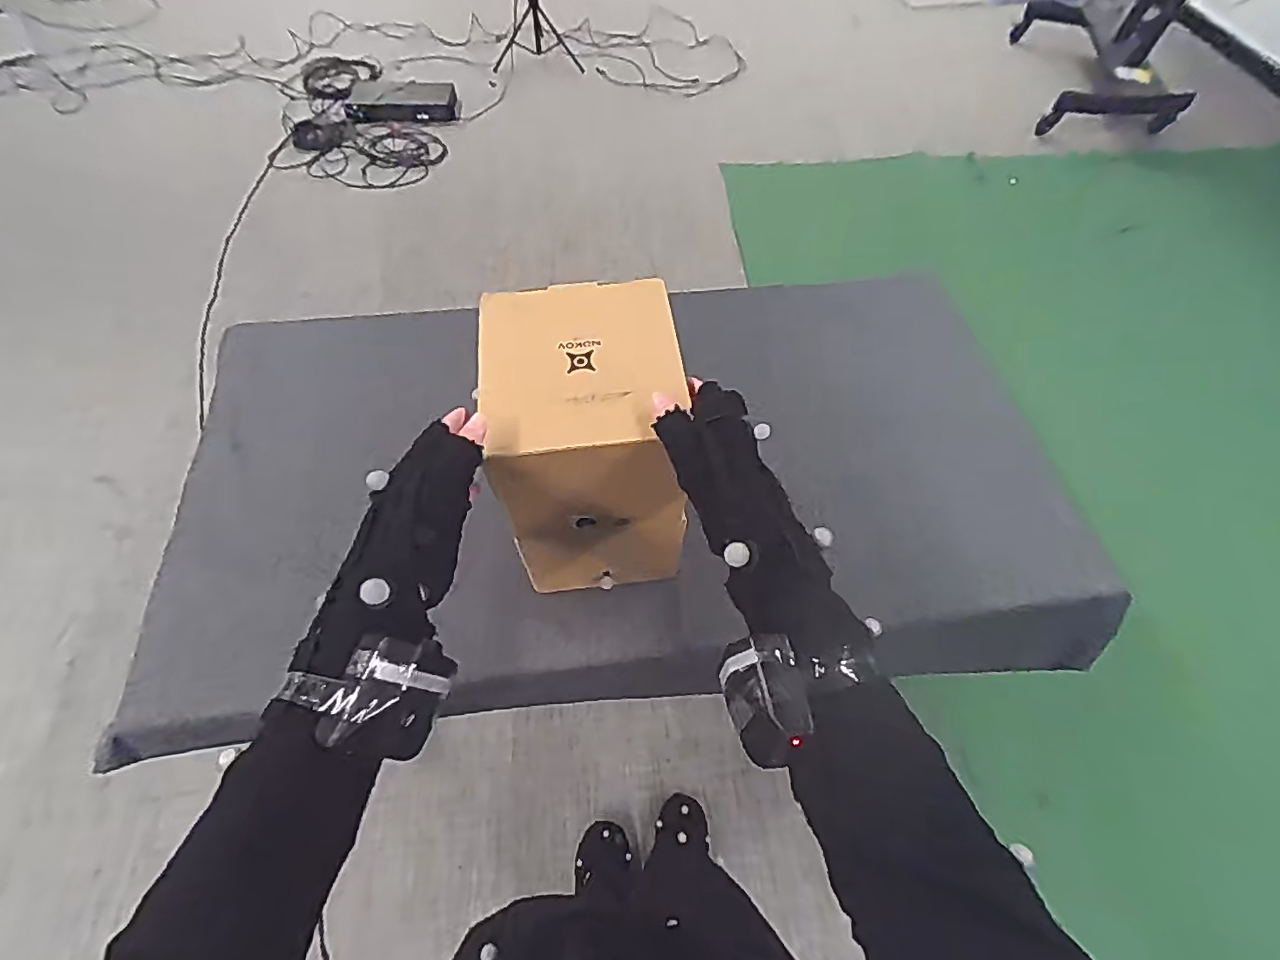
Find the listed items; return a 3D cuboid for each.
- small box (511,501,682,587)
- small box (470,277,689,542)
[{"bbox_3d":[-0.054,0.019,0.652,0.179,0.176,0.168,-6,61,-5],"label":"small box"},{"bbox_3d":[-0.054,-0.060,0.510,0.168,0.176,0.179,-7,62,-3],"label":"small box"}]
